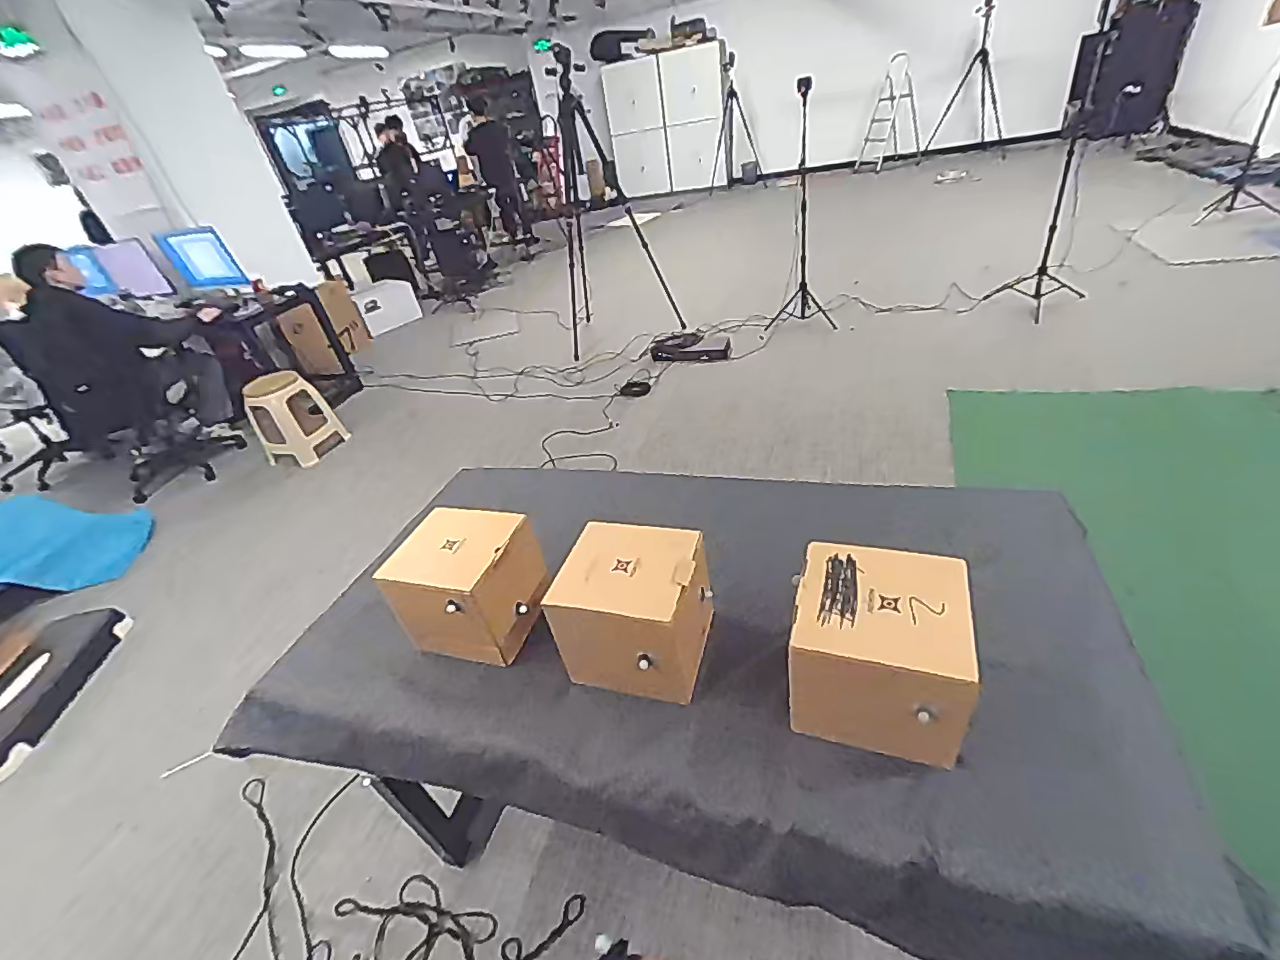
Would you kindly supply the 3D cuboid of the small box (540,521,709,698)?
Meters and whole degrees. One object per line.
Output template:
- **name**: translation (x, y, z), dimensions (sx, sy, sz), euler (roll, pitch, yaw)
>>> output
- **small box**: translation (-0.008, 0.178, 0.755), dimensions (0.179, 0.176, 0.168), euler (1, 35, 21)

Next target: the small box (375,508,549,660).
- **small box**: translation (-0.269, 0.162, 0.857), dimensions (0.179, 0.176, 0.168), euler (3, 37, 19)
